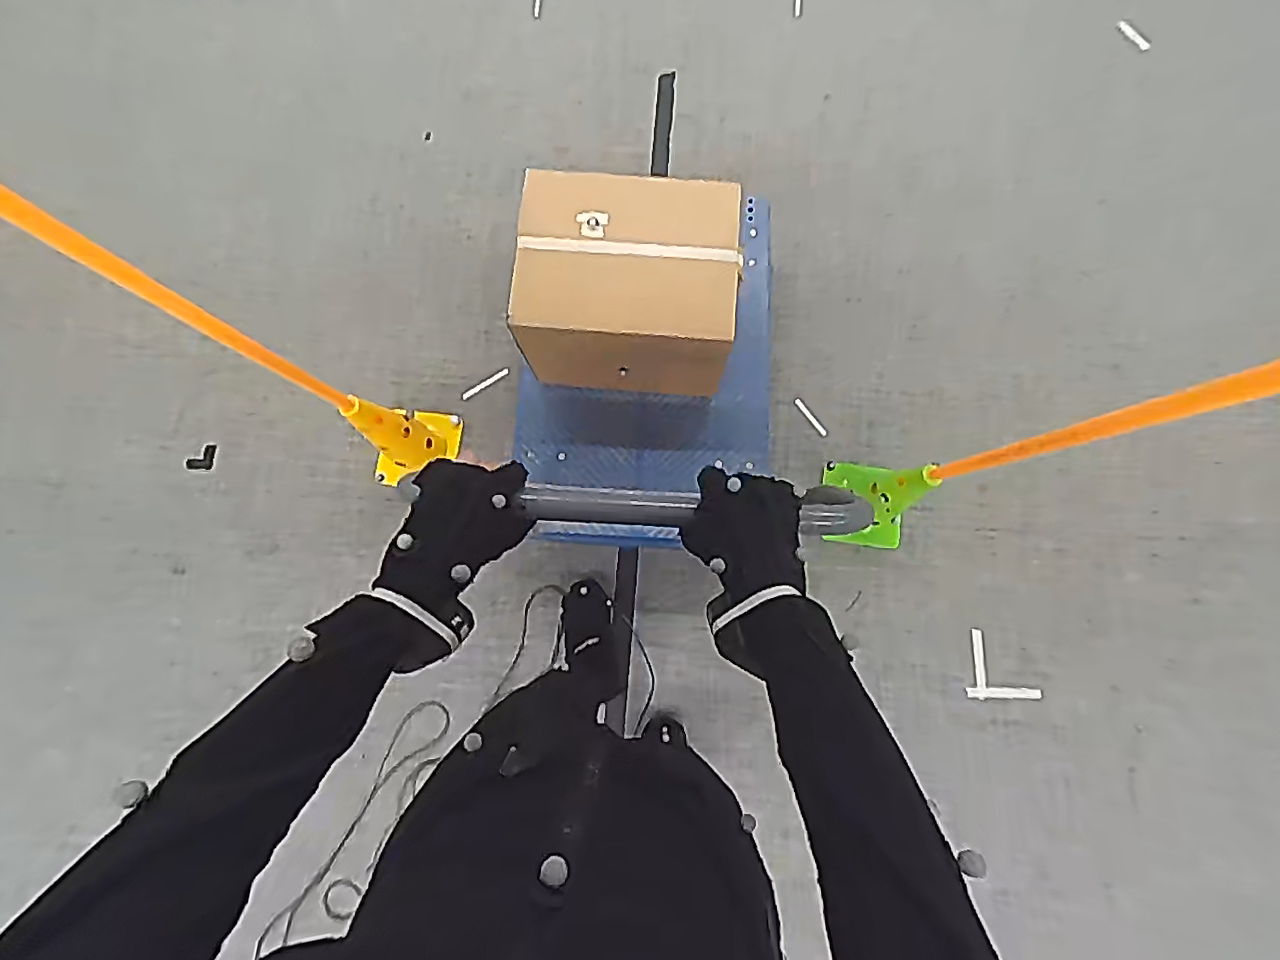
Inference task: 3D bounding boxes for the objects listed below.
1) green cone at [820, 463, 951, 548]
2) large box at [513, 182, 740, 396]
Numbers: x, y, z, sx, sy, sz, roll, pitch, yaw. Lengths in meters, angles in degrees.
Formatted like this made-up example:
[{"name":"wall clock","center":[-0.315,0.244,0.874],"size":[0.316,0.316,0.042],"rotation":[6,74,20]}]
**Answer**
[{"name":"green cone","center":[0.559,0.031,1.192],"size":[0.202,0.368,0.200],"rotation":[8,79,1]},{"name":"large box","center":[-0.016,-0.375,1.133],"size":[0.408,0.320,0.320],"rotation":[5,80,2]}]
